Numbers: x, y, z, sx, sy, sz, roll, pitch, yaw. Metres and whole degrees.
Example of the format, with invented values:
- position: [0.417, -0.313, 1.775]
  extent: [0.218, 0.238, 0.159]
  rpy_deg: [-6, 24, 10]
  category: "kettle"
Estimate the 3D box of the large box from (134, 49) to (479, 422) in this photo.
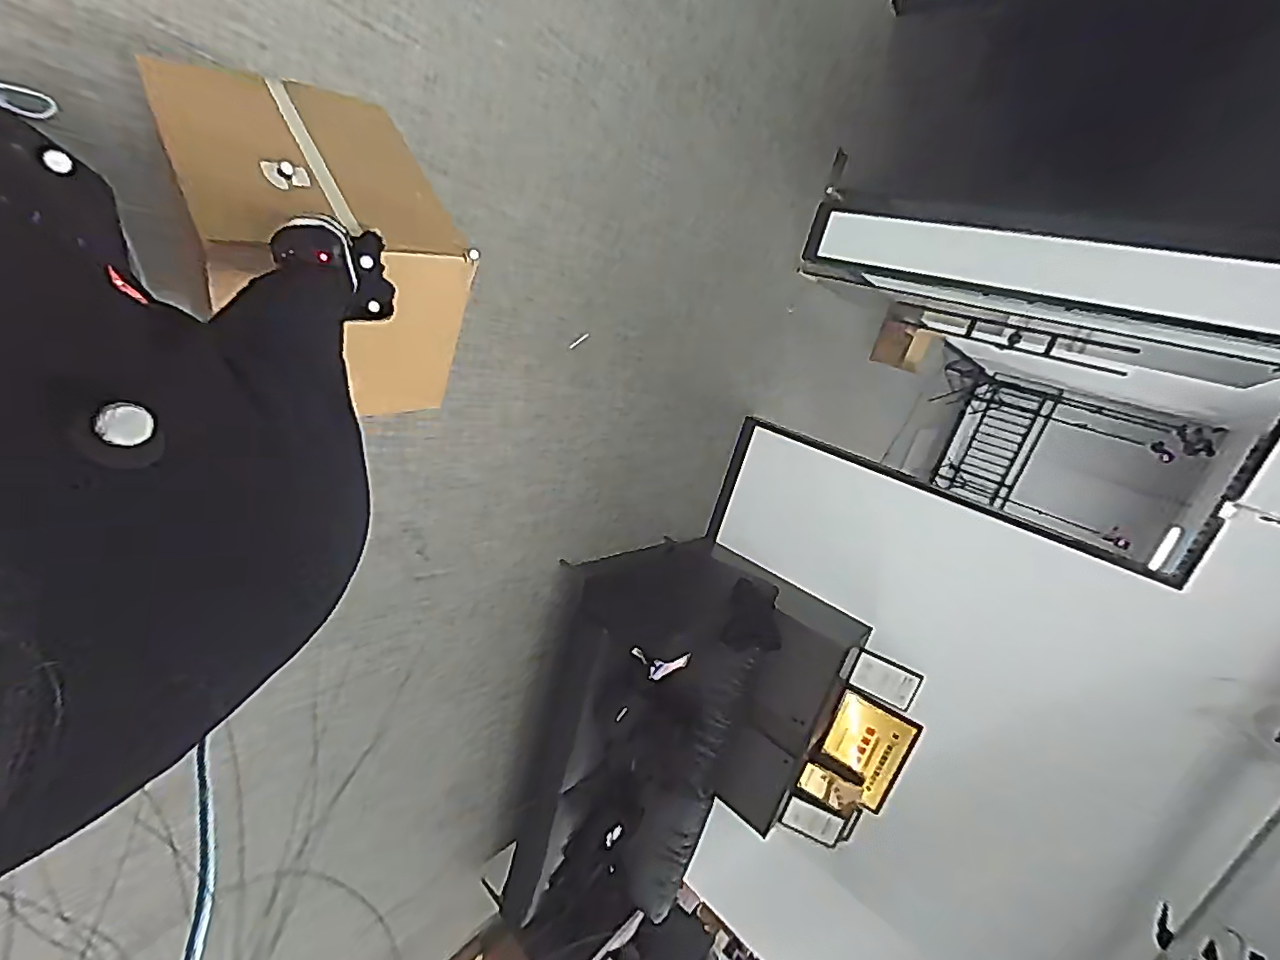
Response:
- position: [-0.509, -0.354, 0.839]
  extent: [0.320, 0.408, 0.320]
  rpy_deg: [-17, 154, -39]
  category: "large box"
